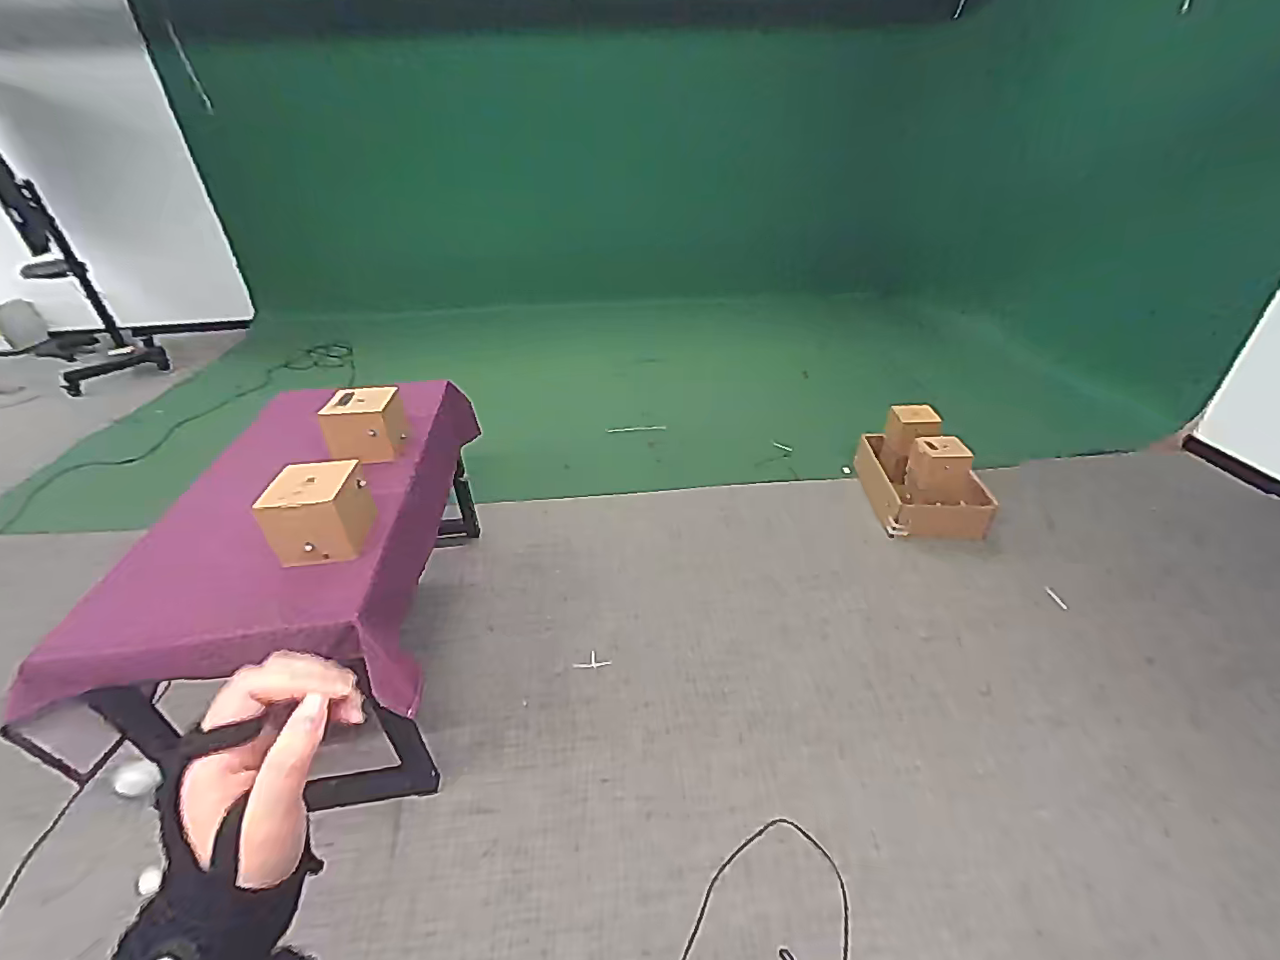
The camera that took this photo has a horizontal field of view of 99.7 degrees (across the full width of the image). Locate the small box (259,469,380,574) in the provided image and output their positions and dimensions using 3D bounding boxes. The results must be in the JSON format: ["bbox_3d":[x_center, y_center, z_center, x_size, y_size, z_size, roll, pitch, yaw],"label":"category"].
[{"bbox_3d":[-0.728,0.094,1.255,0.168,0.176,0.179,-6,33,-3],"label":"small box"}]

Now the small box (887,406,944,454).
[{"bbox_3d":[1.282,-0.231,2.530,0.179,0.176,0.168,-2,34,5],"label":"small box"}]

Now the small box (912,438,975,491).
[{"bbox_3d":[1.265,-0.064,2.272,0.179,0.176,0.168,-1,33,2],"label":"small box"}]
